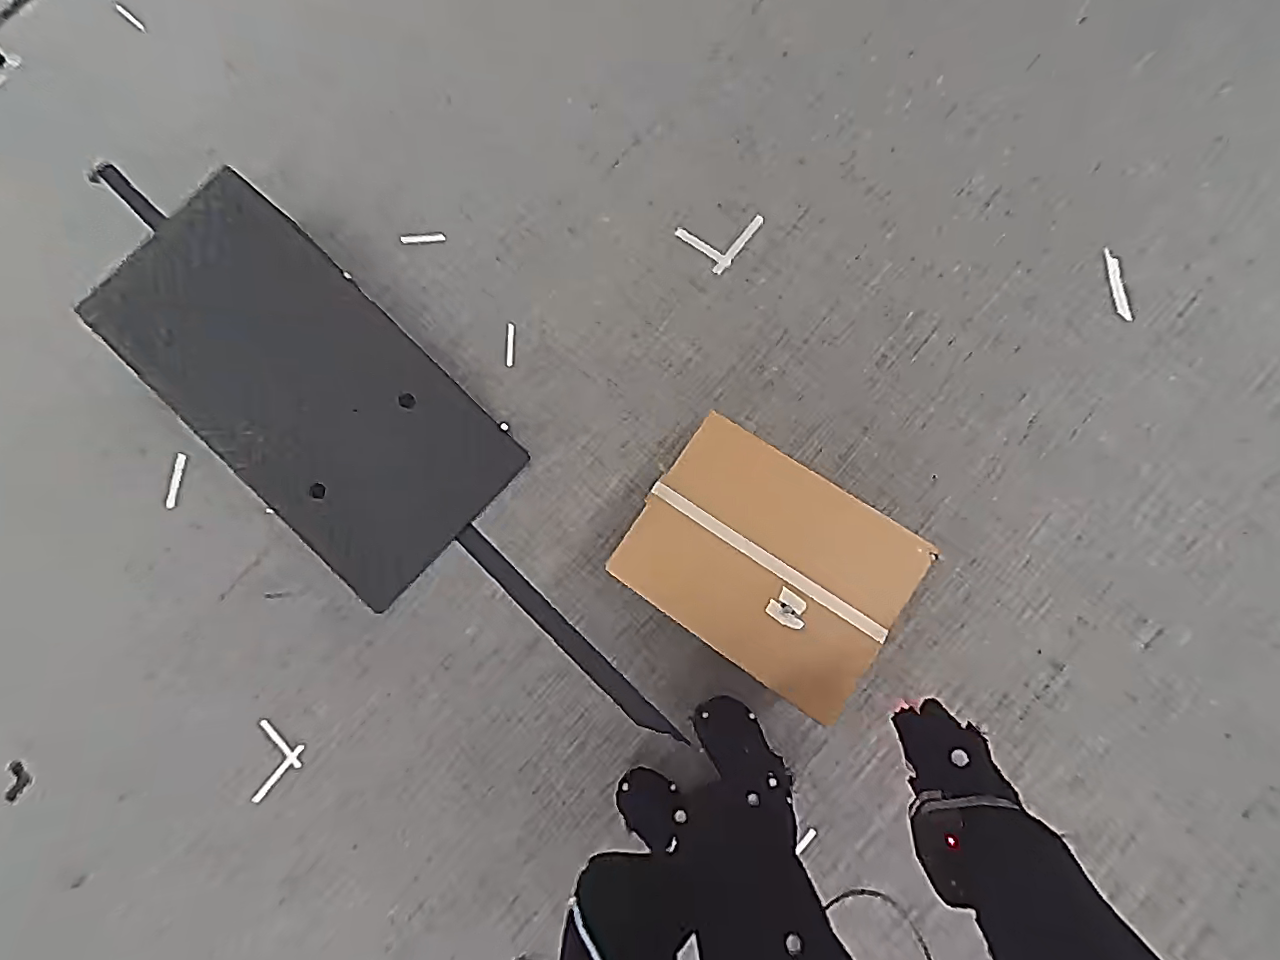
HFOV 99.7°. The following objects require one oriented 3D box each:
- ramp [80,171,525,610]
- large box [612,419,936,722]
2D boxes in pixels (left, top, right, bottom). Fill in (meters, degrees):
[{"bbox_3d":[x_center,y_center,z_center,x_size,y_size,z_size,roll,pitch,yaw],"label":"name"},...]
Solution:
[{"bbox_3d":[-0.775,-0.220,1.248,0.991,0.206,0.509,42,86,13],"label":"ramp"},{"bbox_3d":[0.214,0.152,0.979,0.408,0.320,0.320,34,86,12],"label":"large box"}]
